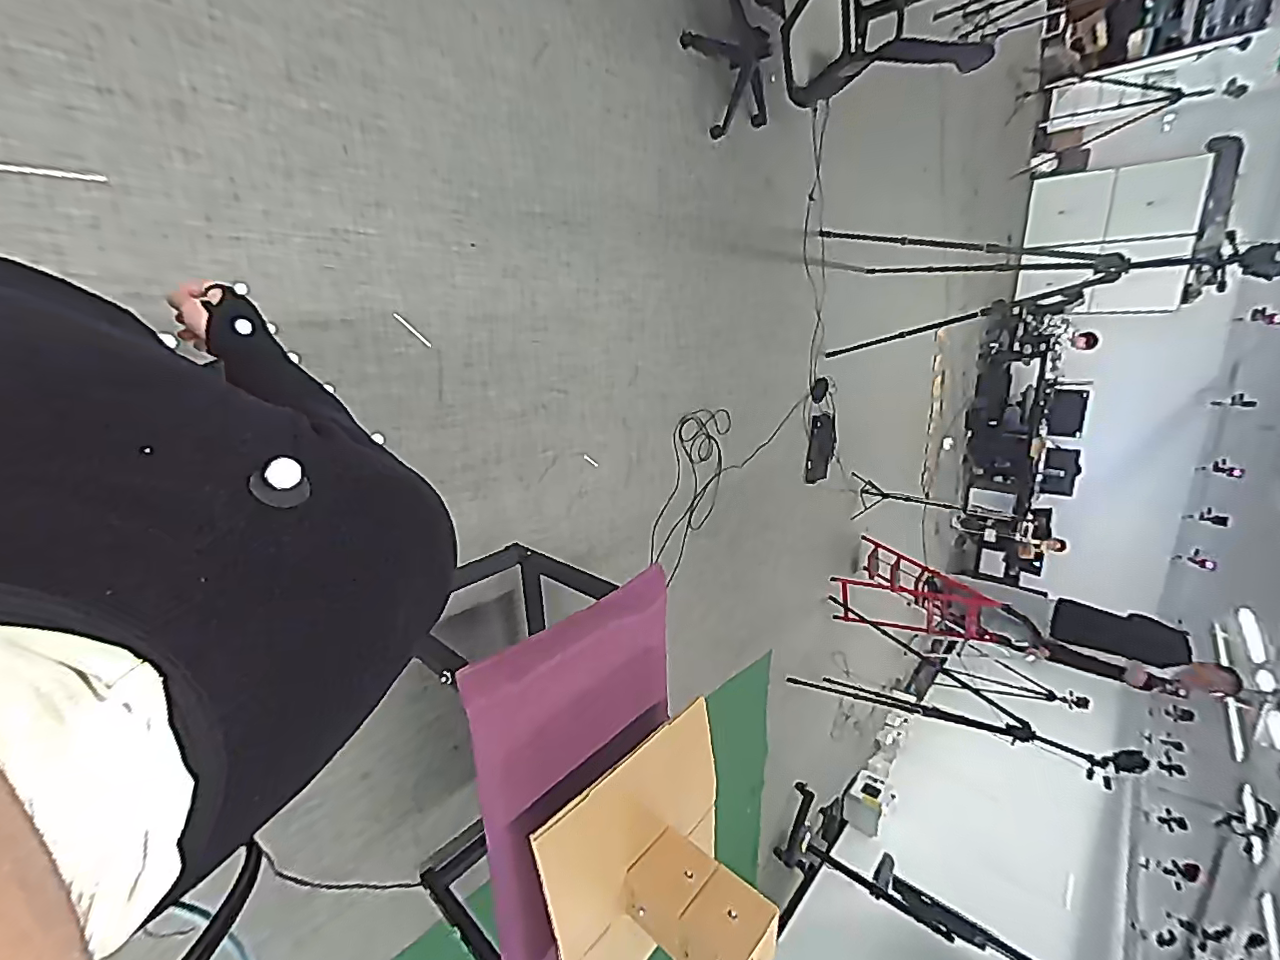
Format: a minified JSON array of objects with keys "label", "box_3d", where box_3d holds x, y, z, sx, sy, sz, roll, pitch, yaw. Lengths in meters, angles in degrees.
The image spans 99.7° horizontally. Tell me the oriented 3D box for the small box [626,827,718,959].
[{"label":"small box","box_3d":[0.082,1.060,1.405,0.179,0.176,0.168,-19,116,-44]}]
